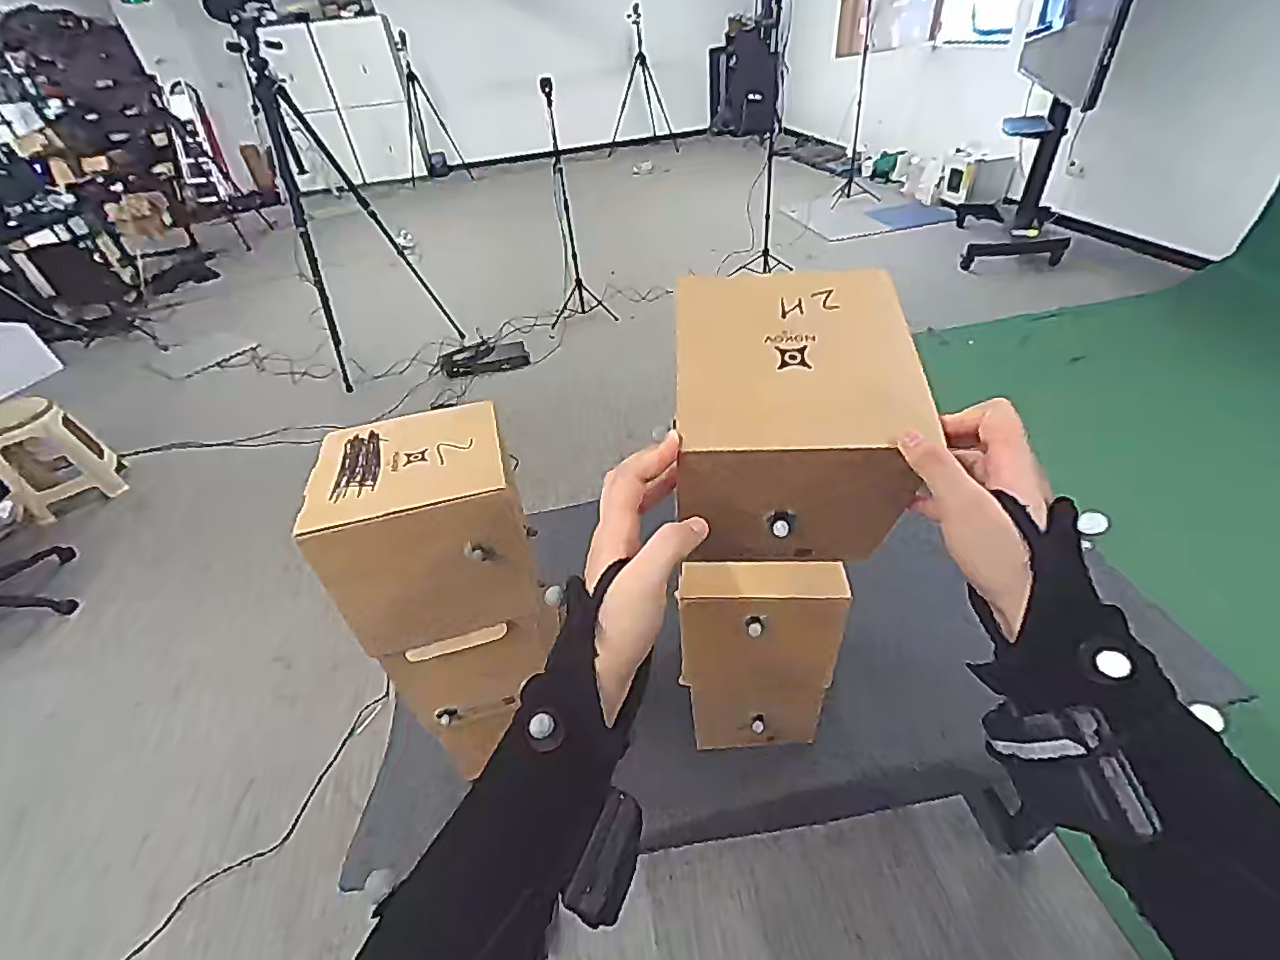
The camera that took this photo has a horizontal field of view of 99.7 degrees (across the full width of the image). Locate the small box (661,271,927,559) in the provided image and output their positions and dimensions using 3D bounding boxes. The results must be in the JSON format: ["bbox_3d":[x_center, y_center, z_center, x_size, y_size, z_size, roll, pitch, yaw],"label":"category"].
[{"bbox_3d":[0.105,-0.043,0.447,0.168,0.176,0.179,-2,56,4],"label":"small box"}]

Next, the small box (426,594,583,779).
[{"bbox_3d":[-0.182,0.294,0.772,0.179,0.176,0.168,-12,38,-5],"label":"small box"}]

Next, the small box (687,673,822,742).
[{"bbox_3d":[0.148,0.253,0.767,0.168,0.176,0.179,-6,40,3],"label":"small box"}]

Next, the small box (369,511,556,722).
[{"bbox_3d":[-0.208,0.171,0.666,0.168,0.176,0.179,-14,38,-9],"label":"small box"}]

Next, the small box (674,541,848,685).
[{"bbox_3d":[0.136,0.132,0.657,0.179,0.176,0.168,-3,39,8],"label":"small box"}]
